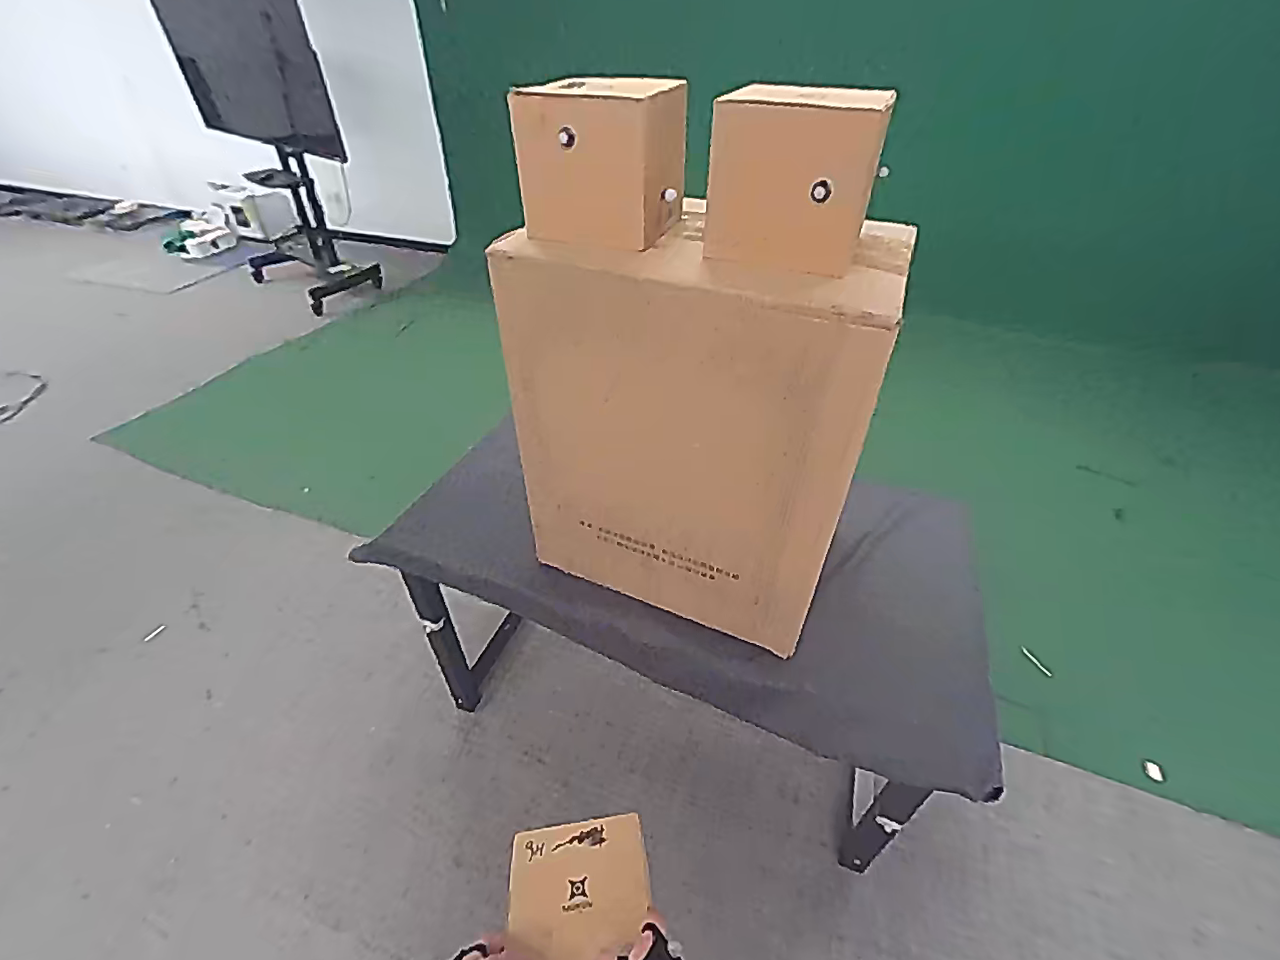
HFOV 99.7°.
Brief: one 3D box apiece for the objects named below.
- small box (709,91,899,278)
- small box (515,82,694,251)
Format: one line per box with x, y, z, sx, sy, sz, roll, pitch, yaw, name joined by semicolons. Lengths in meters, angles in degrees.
0.196;-0.363;0.665;0.179;0.176;0.168;16;43;19;small box
-0.039;-0.427;0.735;0.179;0.176;0.168;17;46;20;small box
